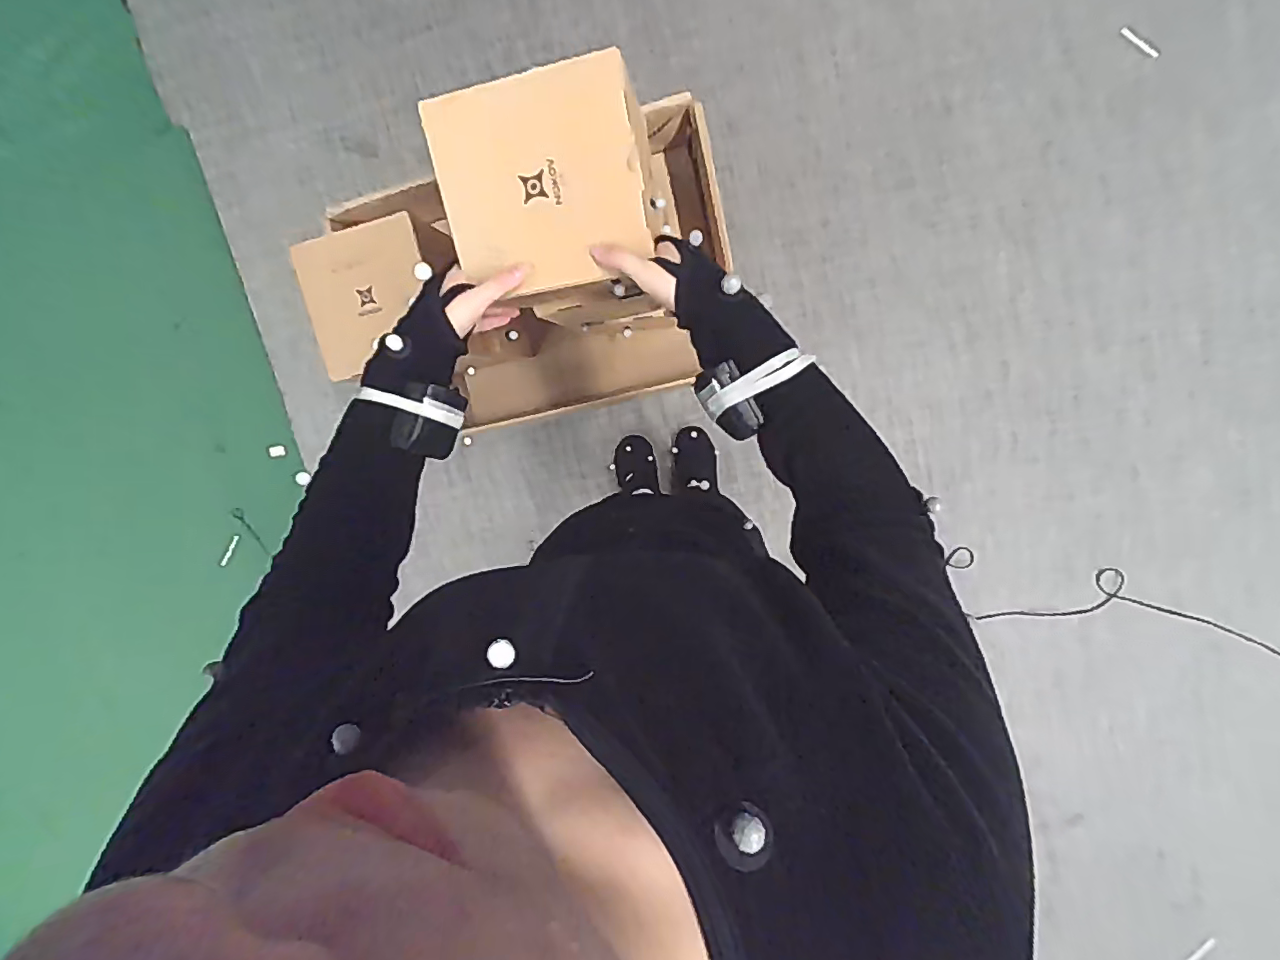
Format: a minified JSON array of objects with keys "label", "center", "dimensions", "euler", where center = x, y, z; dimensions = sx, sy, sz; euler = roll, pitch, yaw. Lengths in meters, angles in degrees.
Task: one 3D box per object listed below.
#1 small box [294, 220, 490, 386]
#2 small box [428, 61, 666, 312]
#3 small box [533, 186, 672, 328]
[{"label":"small box","center":[-0.329,-0.234,0.757],"dimensions":[0.168,0.176,0.179],"euler":[-11,98,8]},{"label":"small box","center":[-0.075,-0.268,0.542],"dimensions":[0.179,0.176,0.168],"euler":[-9,105,8]},{"label":"small box","center":[-0.053,-0.303,0.712],"dimensions":[0.168,0.176,0.179],"euler":[-9,98,8]}]
